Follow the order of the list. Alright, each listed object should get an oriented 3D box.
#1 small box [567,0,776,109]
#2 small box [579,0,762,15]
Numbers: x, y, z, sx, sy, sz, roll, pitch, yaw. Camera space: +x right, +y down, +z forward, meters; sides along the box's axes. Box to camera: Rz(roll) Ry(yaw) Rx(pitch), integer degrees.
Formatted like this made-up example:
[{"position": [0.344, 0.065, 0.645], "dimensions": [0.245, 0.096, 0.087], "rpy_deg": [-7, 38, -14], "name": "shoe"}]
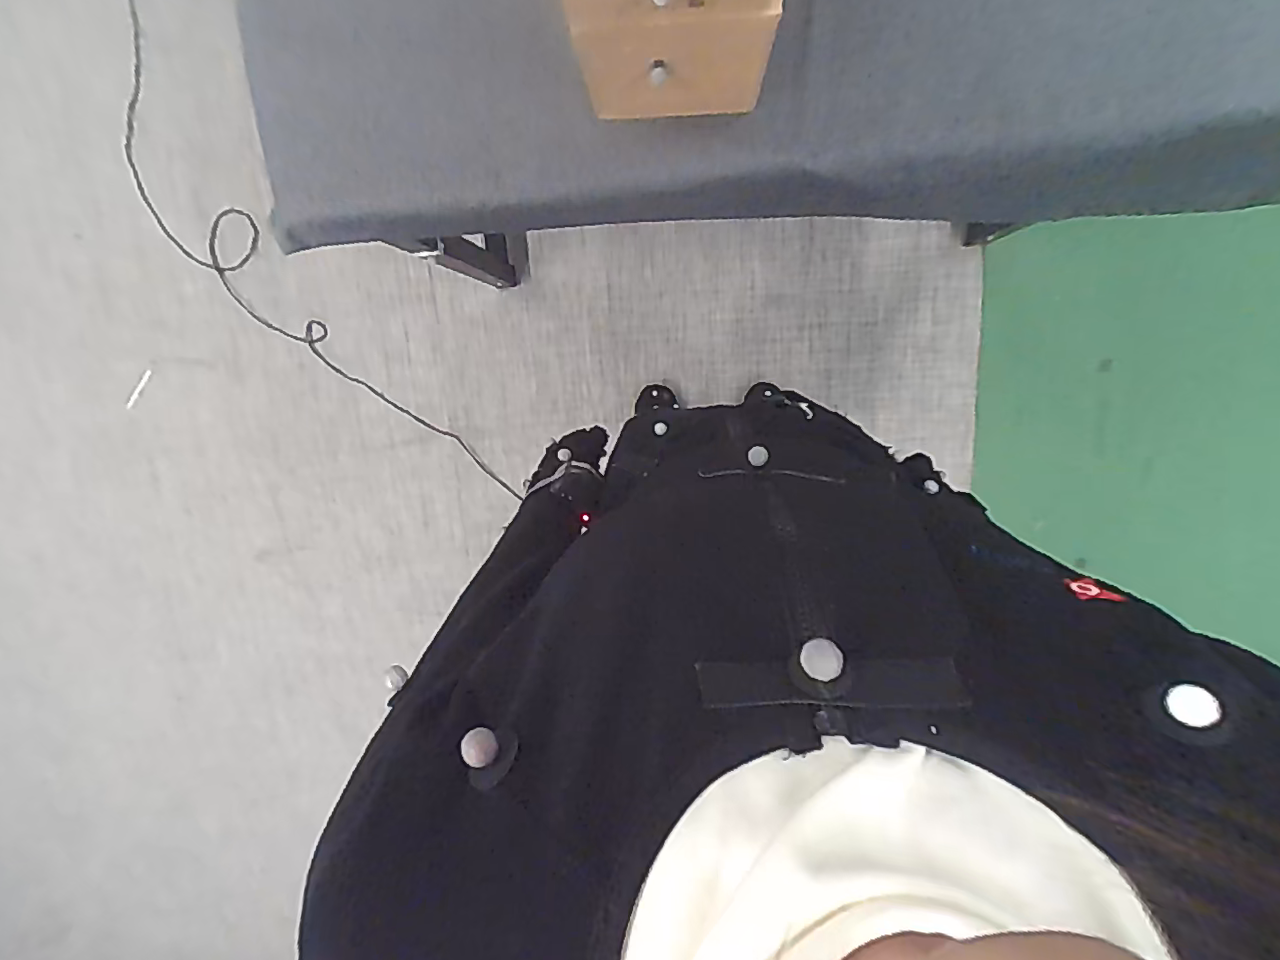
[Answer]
[{"position": [0.033, -0.478, 0.509], "dimensions": [0.179, 0.176, 0.168], "rpy_deg": [1, 101, 4], "name": "small box"}, {"position": [0.019, -0.452, 0.347], "dimensions": [0.168, 0.176, 0.179], "rpy_deg": [1, 102, 4], "name": "small box"}]
